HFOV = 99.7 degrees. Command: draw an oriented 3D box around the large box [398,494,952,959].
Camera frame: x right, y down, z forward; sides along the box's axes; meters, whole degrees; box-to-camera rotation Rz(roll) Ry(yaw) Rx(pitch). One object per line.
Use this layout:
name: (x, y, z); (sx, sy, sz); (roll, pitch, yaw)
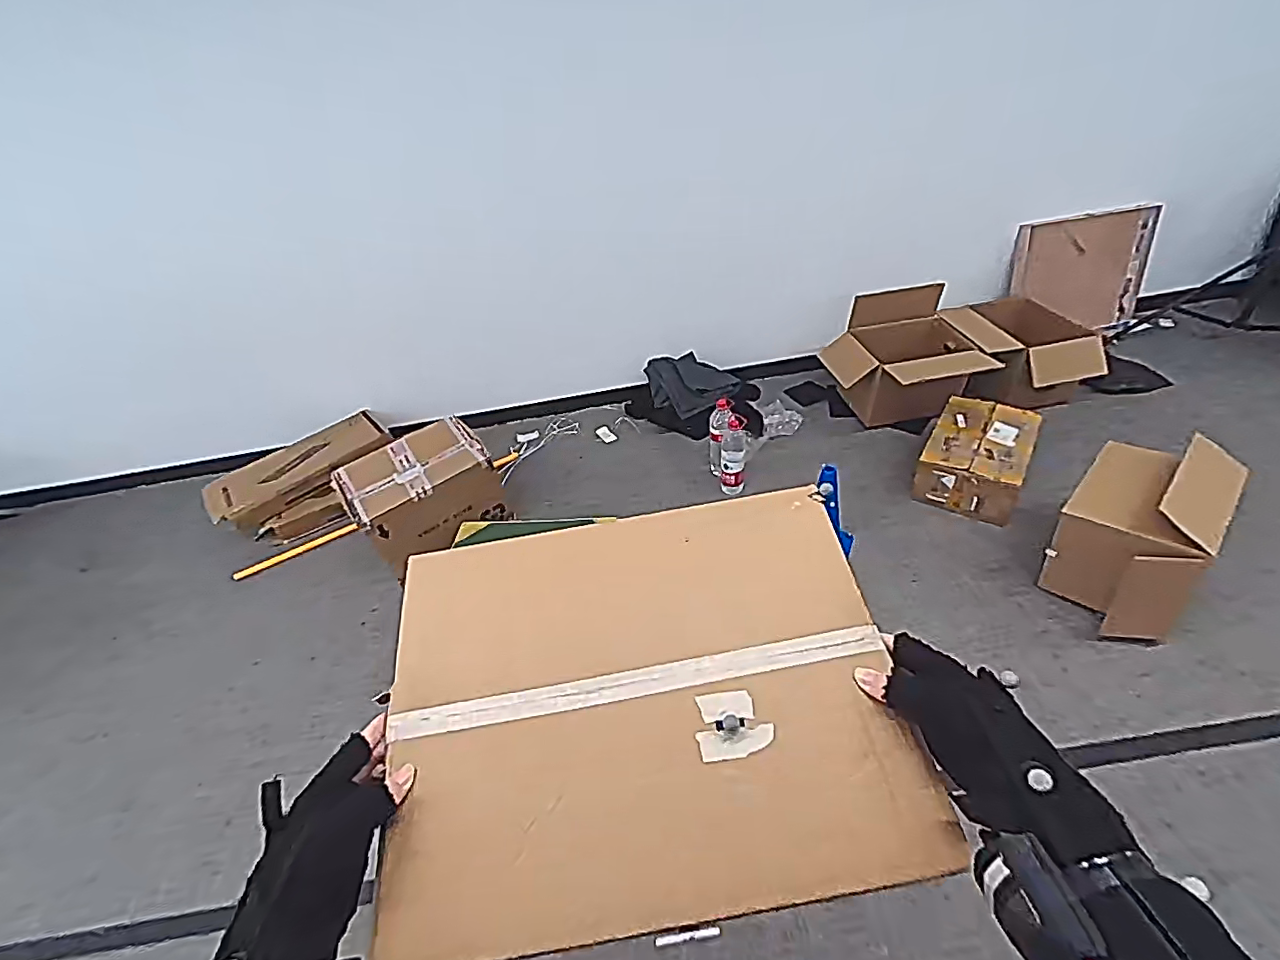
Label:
large box: (0.015, 0.257, 0.580); (0.408, 0.320, 0.320); (-10, 55, -1)
